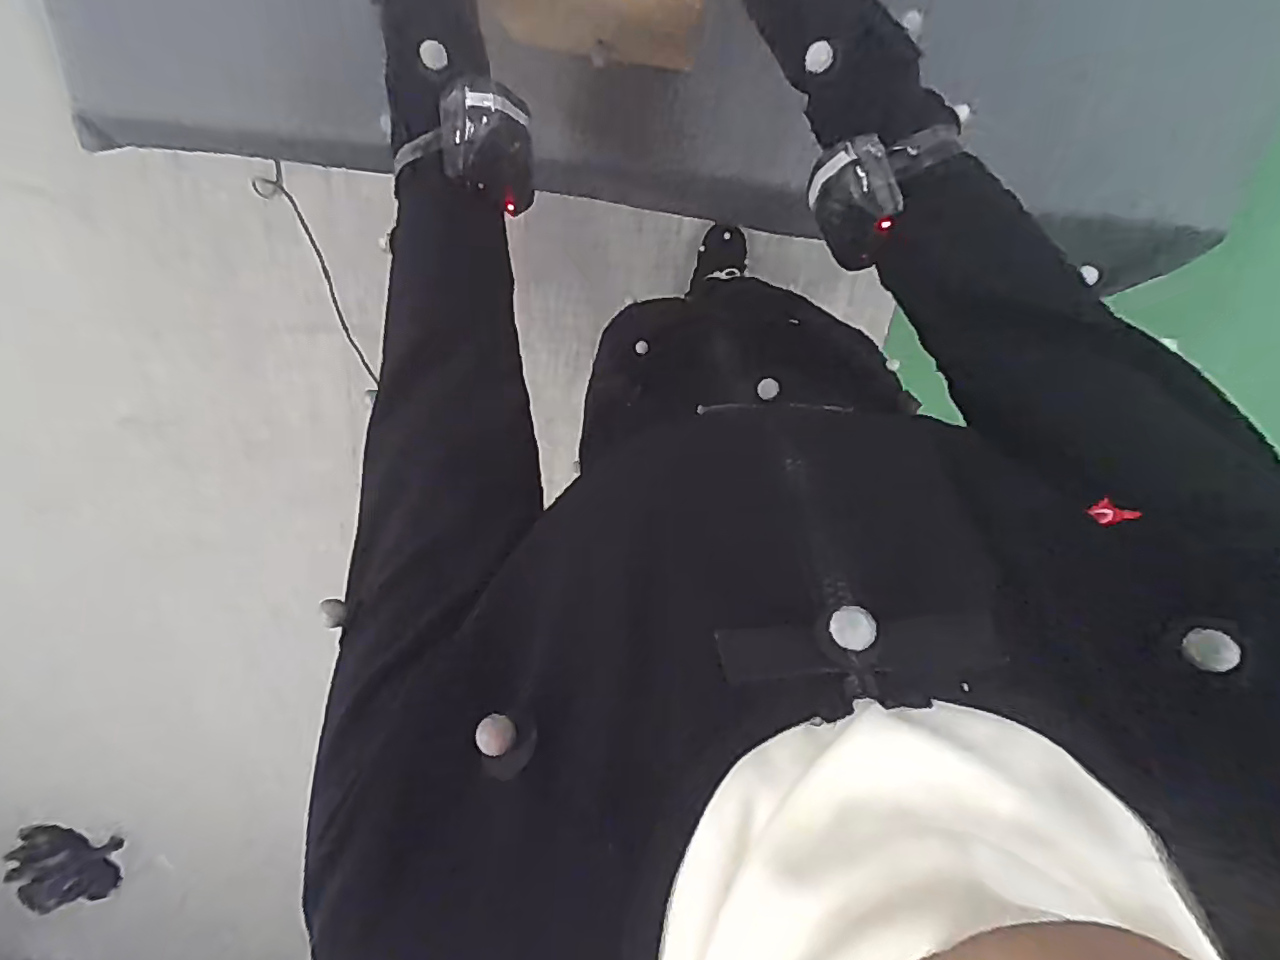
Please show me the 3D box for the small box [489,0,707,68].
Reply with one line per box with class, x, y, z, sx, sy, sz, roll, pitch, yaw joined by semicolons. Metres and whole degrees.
small box;-0.026;-0.457;0.427;0.179;0.176;0.168;8;112;-2
